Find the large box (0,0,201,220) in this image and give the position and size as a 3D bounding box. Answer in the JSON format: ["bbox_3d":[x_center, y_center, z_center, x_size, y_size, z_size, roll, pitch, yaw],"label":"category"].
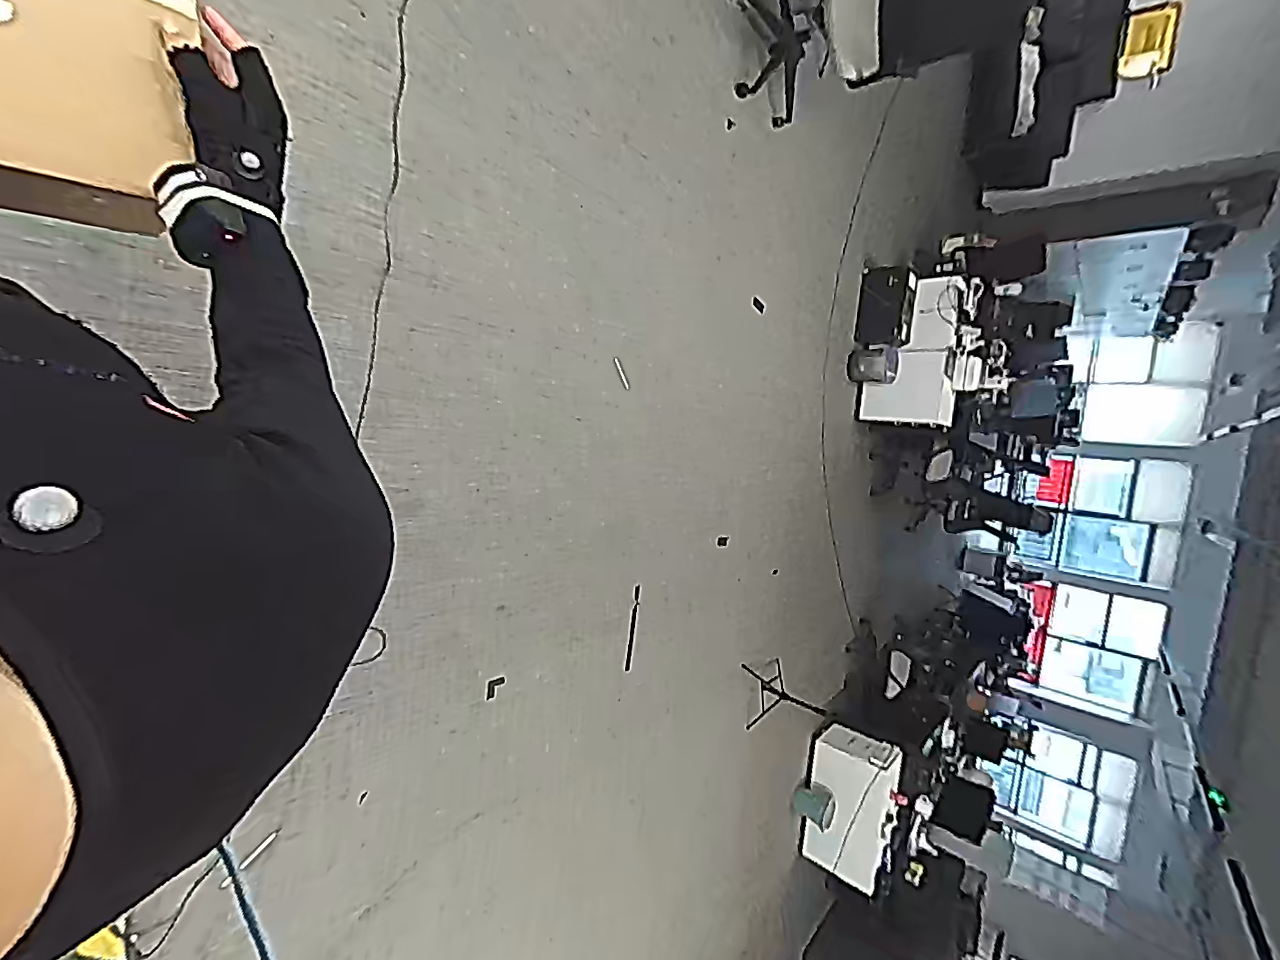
[{"bbox_3d":[-0.628,-0.418,0.406,0.408,0.320,0.320,-8,109,-48],"label":"large box"}]
